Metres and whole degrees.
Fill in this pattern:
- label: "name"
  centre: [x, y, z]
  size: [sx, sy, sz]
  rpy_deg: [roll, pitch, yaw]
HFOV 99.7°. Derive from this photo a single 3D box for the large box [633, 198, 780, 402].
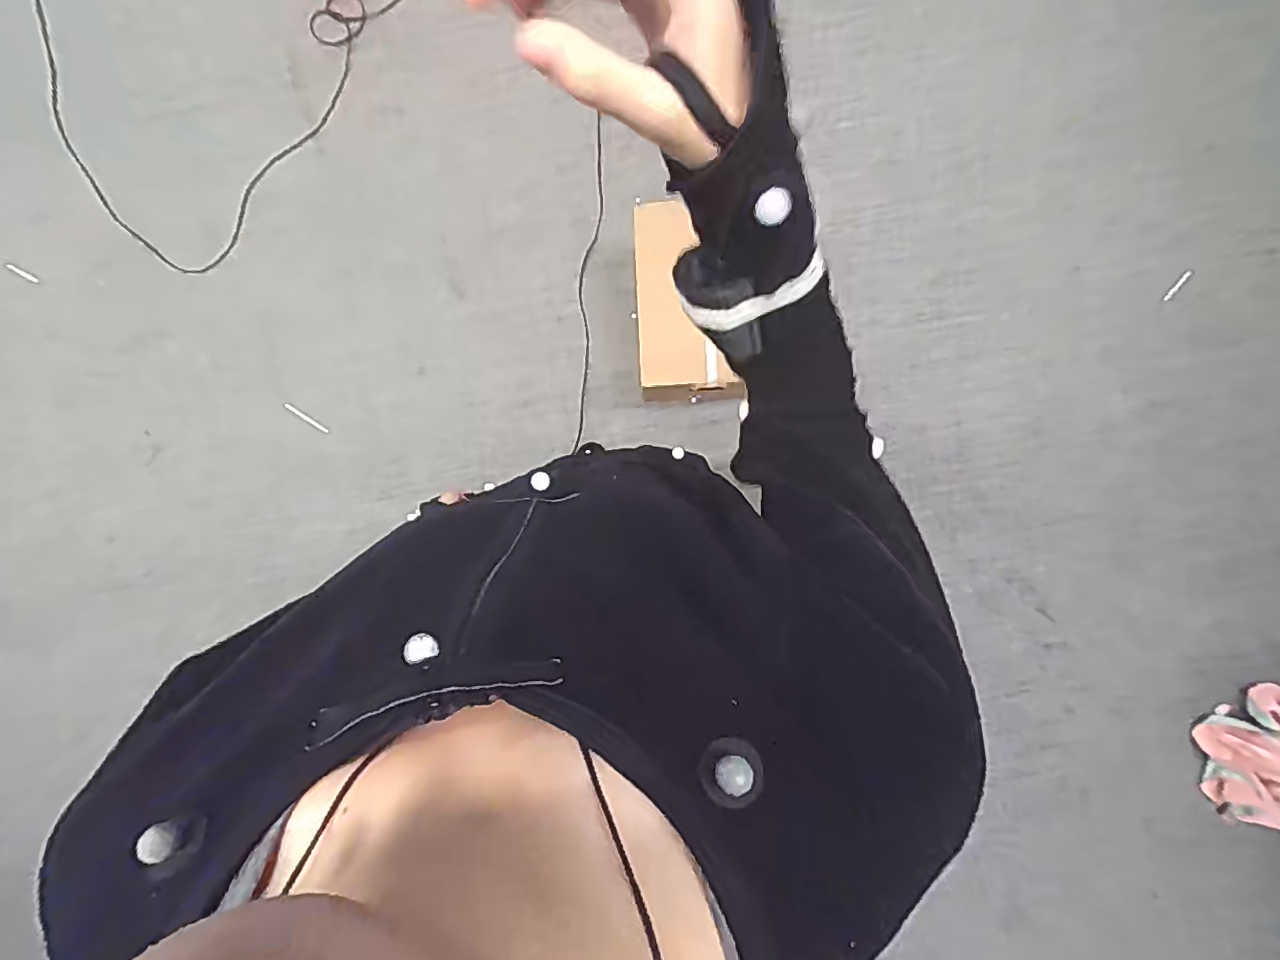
- label: "large box"
  centre: [0.153, -0.417, 1.345]
  size: [0.320, 0.320, 0.408]
  rpy_deg: [-2, 91, 1]
